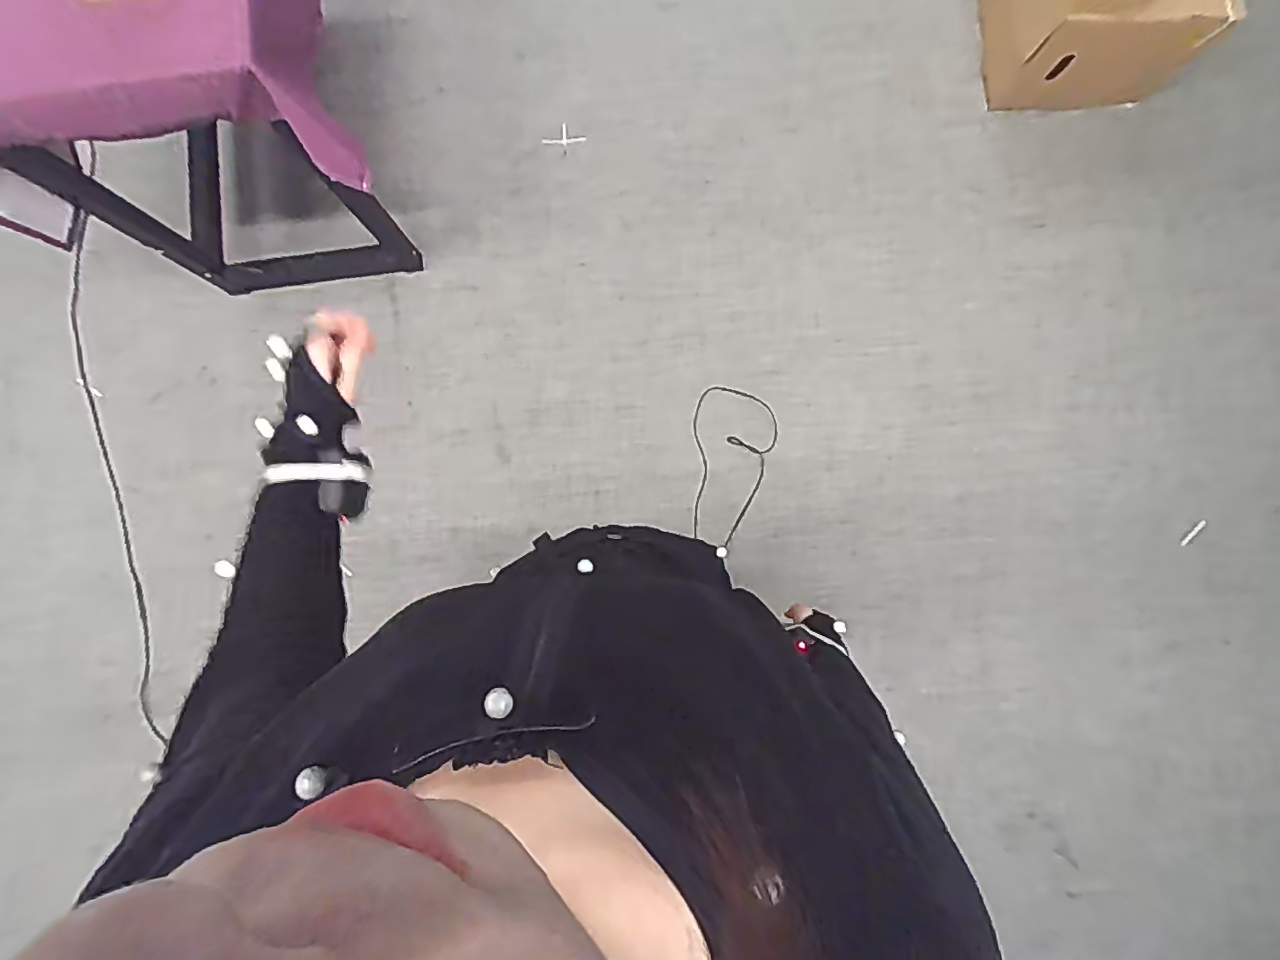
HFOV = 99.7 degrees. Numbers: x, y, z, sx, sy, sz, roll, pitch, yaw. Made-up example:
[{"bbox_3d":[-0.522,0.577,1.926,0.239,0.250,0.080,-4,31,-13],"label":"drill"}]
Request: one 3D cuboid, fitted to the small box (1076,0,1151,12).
[{"bbox_3d":[1.153,-1.231,1.246,0.179,0.176,0.168,4,86,-1],"label":"small box"}]
